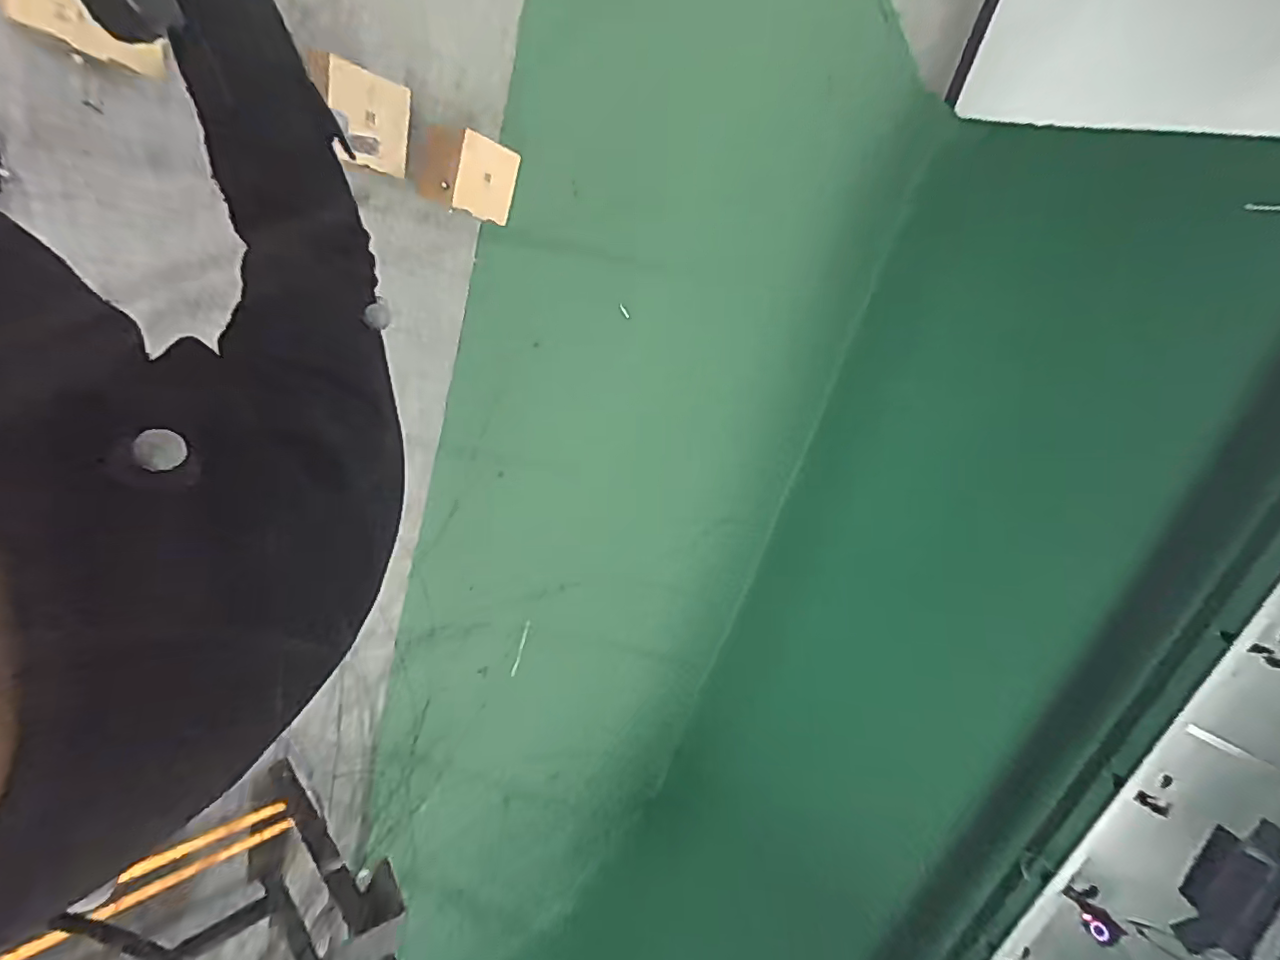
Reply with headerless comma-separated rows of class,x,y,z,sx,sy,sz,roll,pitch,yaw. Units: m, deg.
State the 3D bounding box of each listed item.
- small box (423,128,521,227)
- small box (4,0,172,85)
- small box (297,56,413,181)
small box,-0.436,-0.779,1.390,0.168,0.176,0.179,-5,119,-51
small box,-0.854,-0.752,0.836,0.168,0.176,0.179,-3,117,-51
small box,-0.613,-0.767,1.158,0.168,0.176,0.179,-12,122,-50
